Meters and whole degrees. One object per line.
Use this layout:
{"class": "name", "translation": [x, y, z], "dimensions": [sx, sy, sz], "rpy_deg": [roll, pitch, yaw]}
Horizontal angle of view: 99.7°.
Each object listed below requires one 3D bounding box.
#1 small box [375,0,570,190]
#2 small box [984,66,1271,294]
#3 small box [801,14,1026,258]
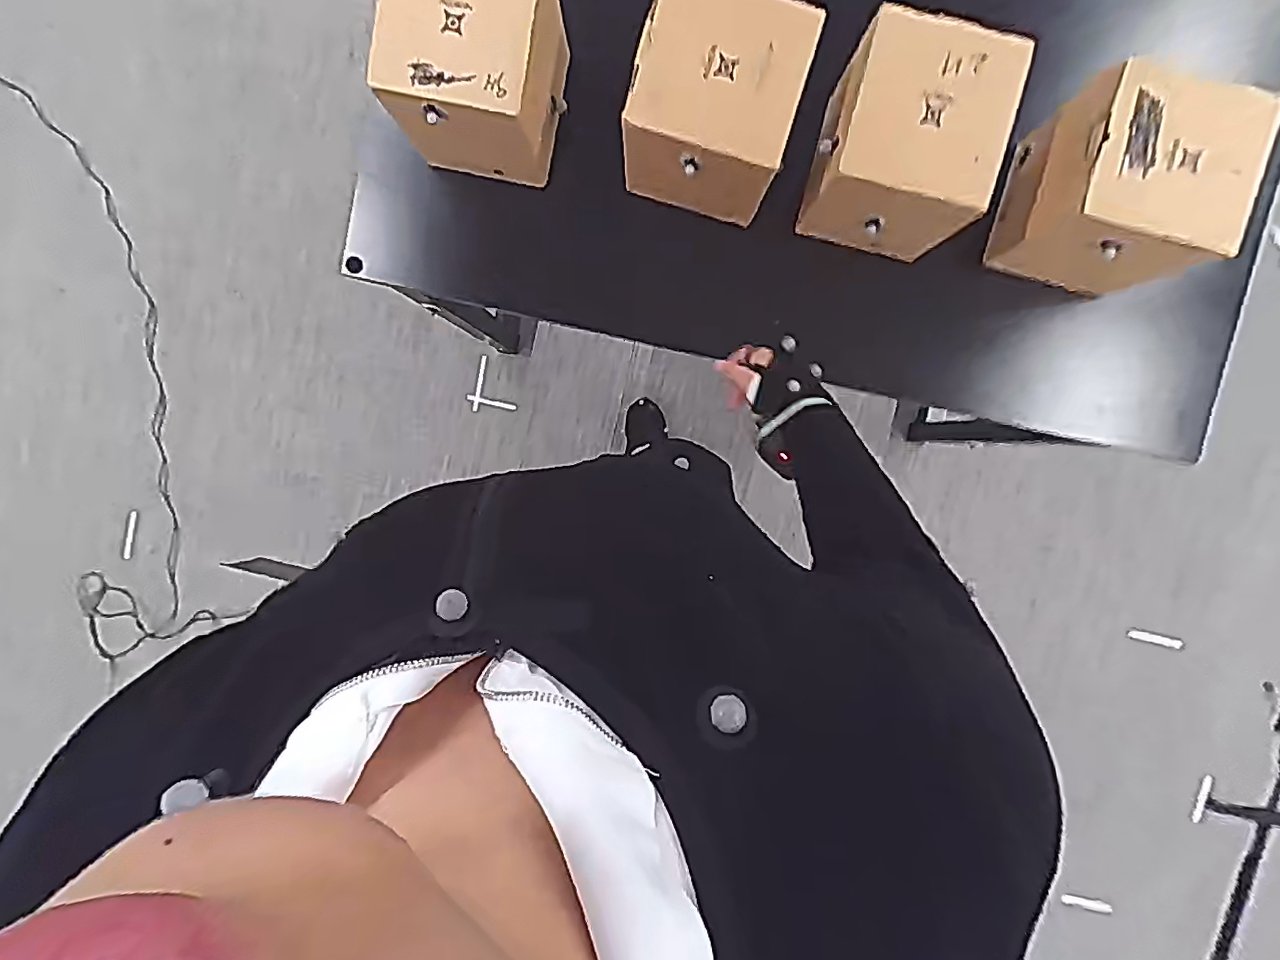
{"class": "small box", "translation": [-0.186, -0.490, 0.653], "dimensions": [0.168, 0.176, 0.179], "rpy_deg": [12, 94, 1]}
{"class": "small box", "translation": [0.566, -0.344, 0.657], "dimensions": [0.179, 0.176, 0.168], "rpy_deg": [15, 94, -1]}
{"class": "small box", "translation": [0.310, -0.394, 0.656], "dimensions": [0.168, 0.176, 0.179], "rpy_deg": [14, 94, -1]}
